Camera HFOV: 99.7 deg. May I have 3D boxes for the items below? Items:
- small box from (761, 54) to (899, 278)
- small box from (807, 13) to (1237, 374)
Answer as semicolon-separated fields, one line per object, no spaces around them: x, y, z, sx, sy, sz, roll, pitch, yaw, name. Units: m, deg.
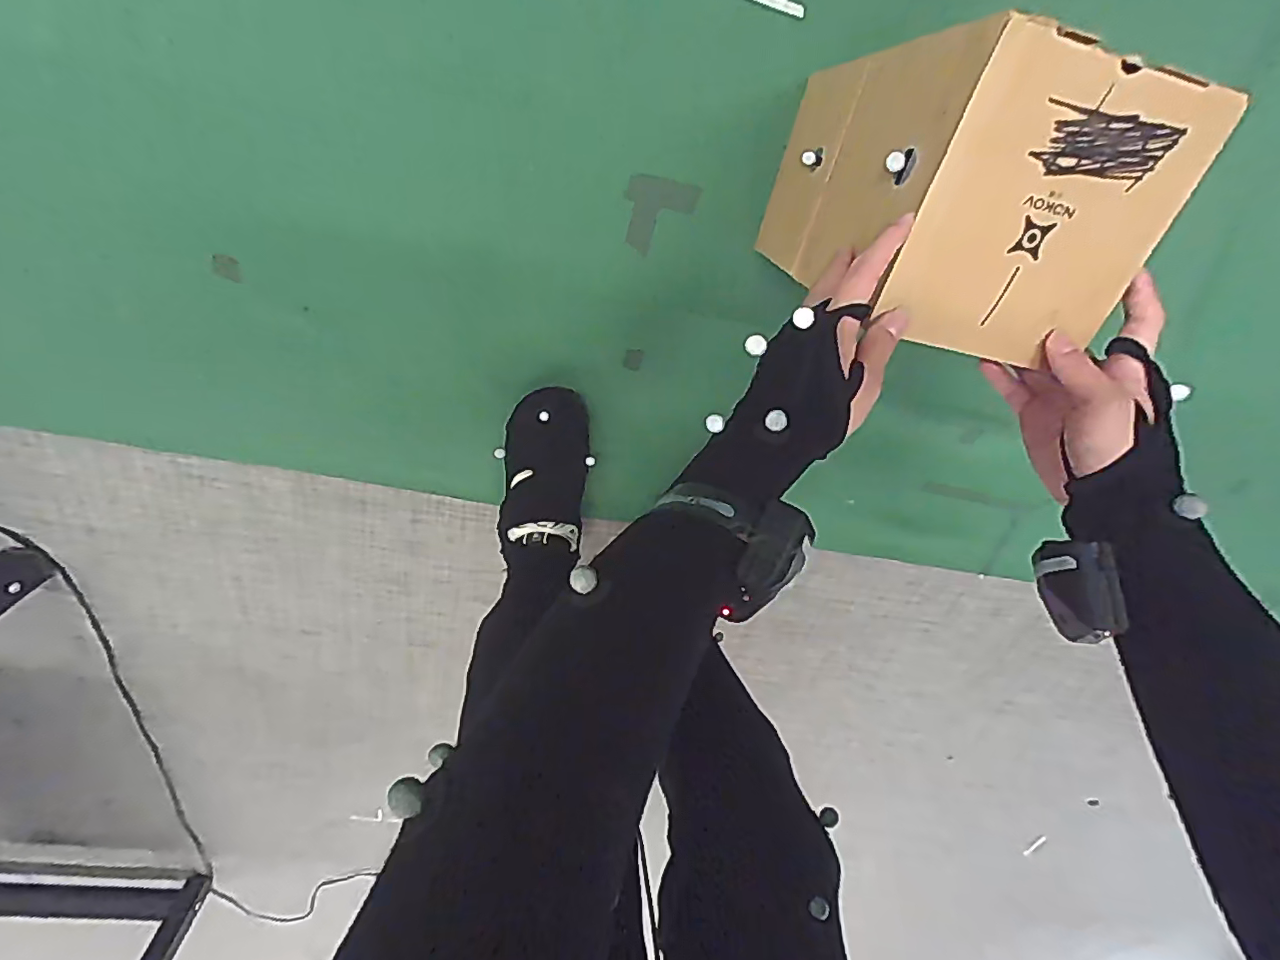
0.241;-0.295;0.555;0.168;0.176;0.179;12;121;-10;small box
0.252;-0.208;0.415;0.168;0.176;0.179;11;121;-10;small box
